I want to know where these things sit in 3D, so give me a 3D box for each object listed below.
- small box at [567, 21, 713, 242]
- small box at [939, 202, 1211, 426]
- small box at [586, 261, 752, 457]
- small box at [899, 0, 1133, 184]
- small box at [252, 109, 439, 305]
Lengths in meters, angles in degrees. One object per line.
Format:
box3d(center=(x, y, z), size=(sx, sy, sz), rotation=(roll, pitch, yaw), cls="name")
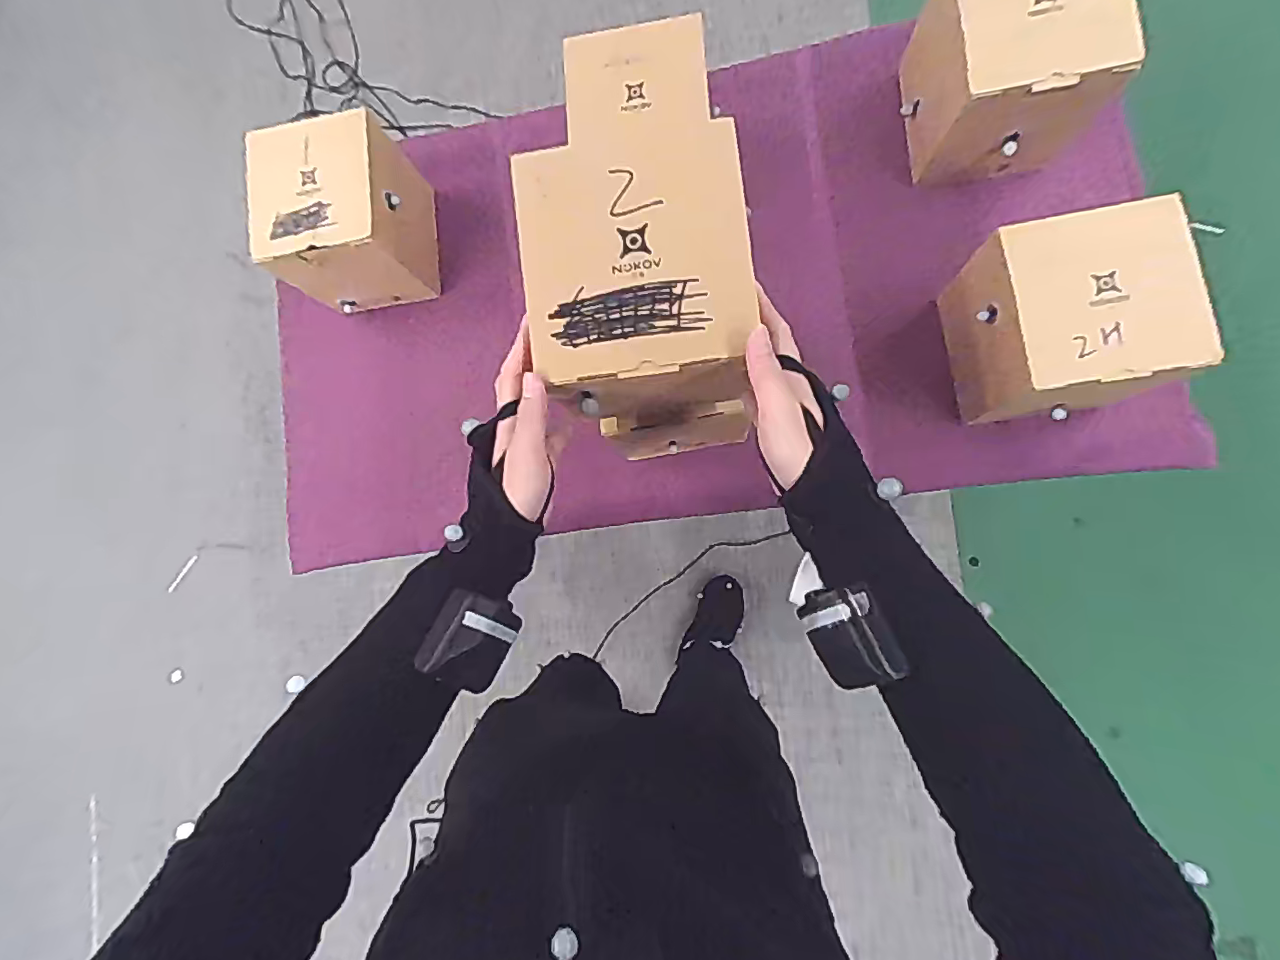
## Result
box3d(center=(0.009, -0.431, 0.703), size=(0.168, 0.176, 0.179), rotation=(-4, 84, 7), cls="small box")
box3d(center=(0.463, -0.171, 0.610), size=(0.168, 0.176, 0.179), rotation=(-7, 83, 9), cls="small box")
box3d(center=(0.038, -0.136, 0.670), size=(0.168, 0.176, 0.179), rotation=(-9, 83, 7), cls="small box")
box3d(center=(0.428, -0.483, 0.646), size=(0.168, 0.176, 0.179), rotation=(-6, 87, 7), cls="small box")
box3d(center=(-0.395, -0.358, 0.749), size=(0.168, 0.176, 0.179), rotation=(-6, 83, 7), cls="small box")
